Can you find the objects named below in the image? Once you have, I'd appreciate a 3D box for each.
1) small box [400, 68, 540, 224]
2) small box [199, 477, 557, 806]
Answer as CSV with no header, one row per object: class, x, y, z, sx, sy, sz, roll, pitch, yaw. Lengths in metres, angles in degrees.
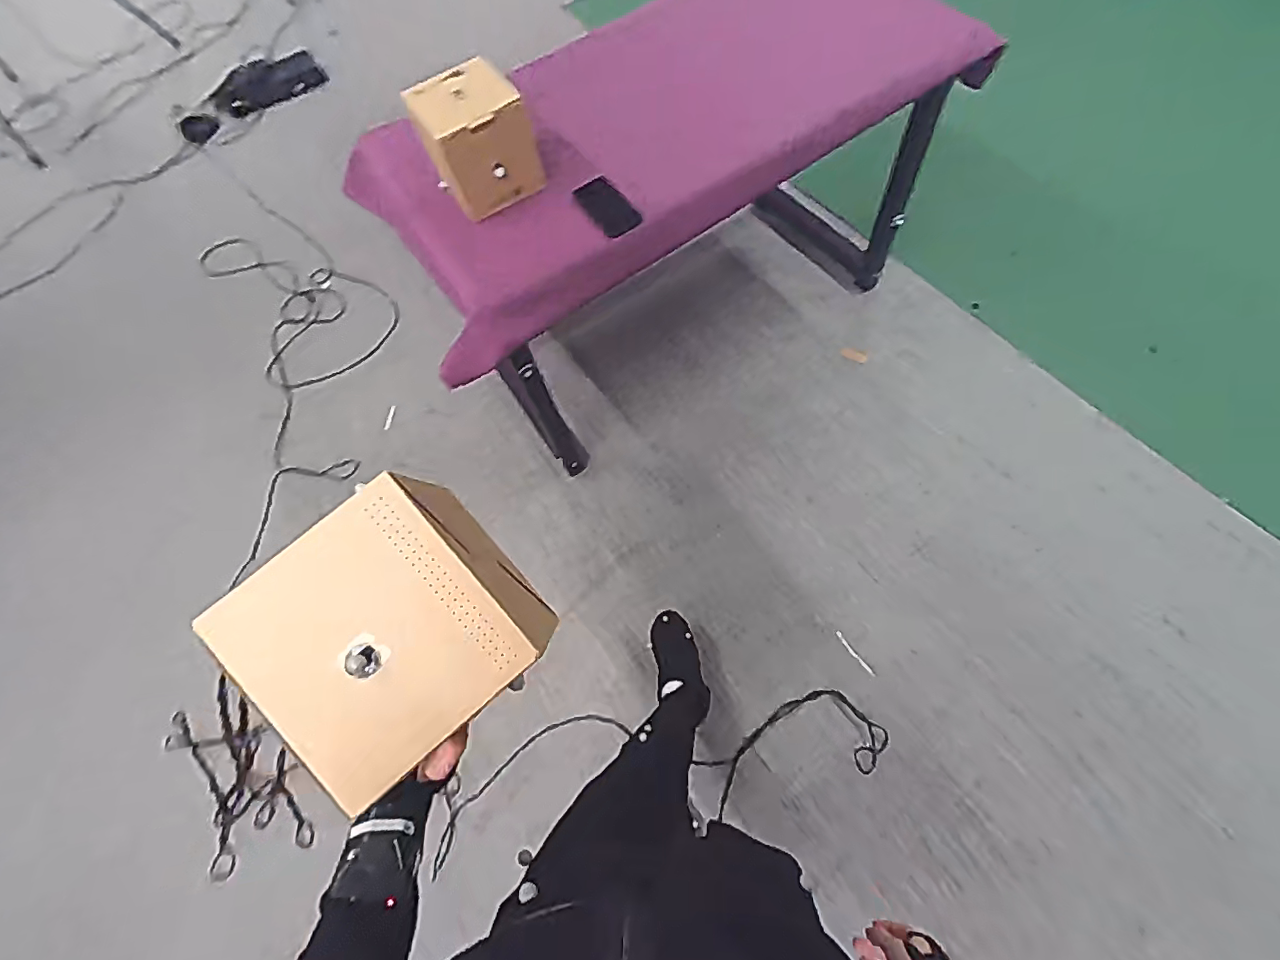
small box,-0.313,-0.621,1.025,0.168,0.176,0.179,-32,66,-8
small box,-0.191,0.111,0.454,0.176,0.168,0.179,-41,89,-7
